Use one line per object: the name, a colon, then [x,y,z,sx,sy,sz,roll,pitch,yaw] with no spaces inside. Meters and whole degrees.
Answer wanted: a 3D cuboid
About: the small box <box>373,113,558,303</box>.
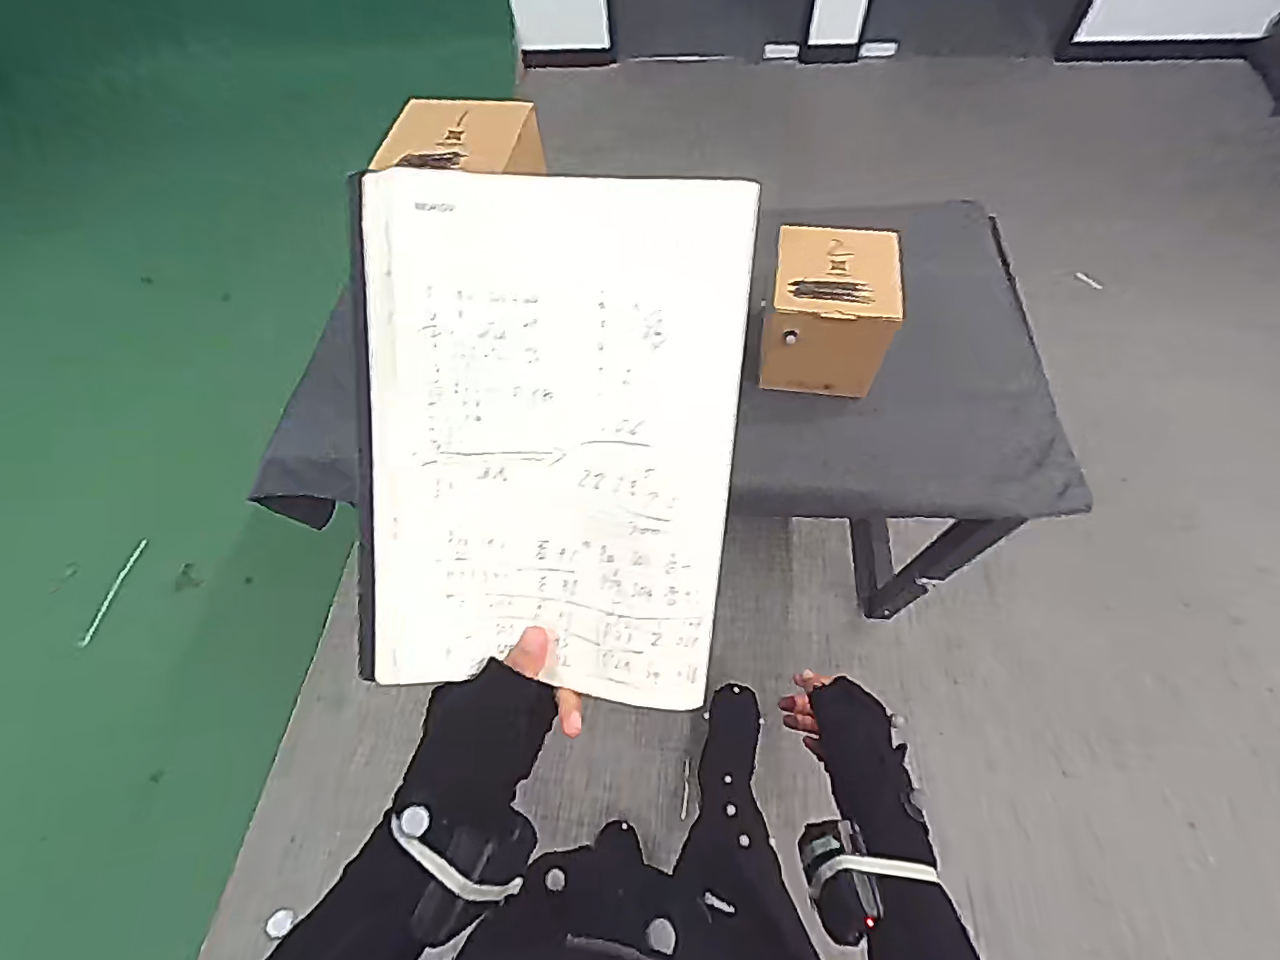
small box: [-0.217,-0.362,0.732,0.168,0.176,0.179,6,60,6]
